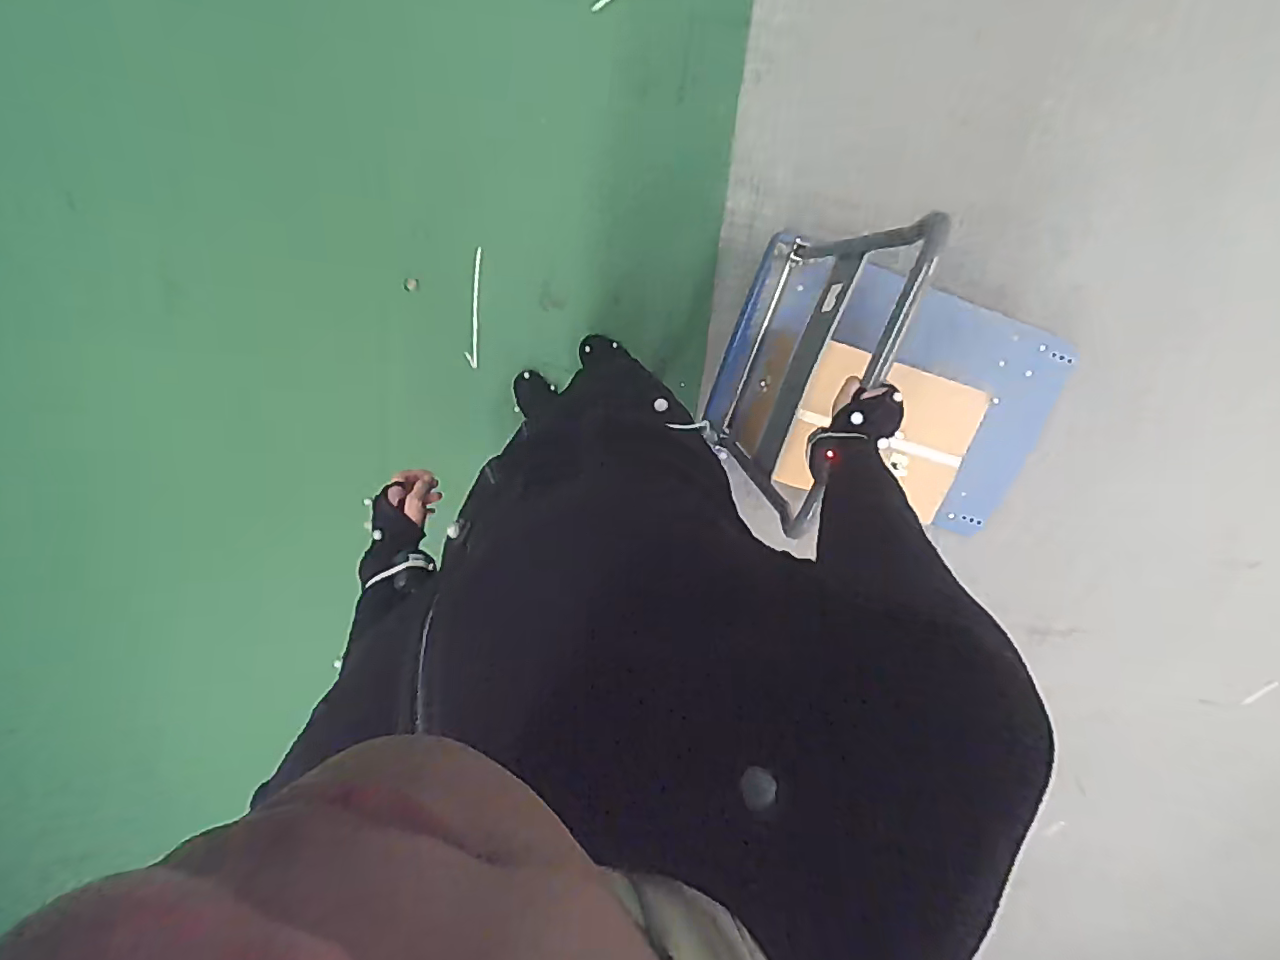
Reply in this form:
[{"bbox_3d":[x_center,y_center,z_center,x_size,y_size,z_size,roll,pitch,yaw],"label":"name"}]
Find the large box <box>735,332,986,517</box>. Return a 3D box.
[{"bbox_3d":[0.488,-0.147,1.291,0.408,0.320,0.320,16,107,-8],"label":"large box"}]
